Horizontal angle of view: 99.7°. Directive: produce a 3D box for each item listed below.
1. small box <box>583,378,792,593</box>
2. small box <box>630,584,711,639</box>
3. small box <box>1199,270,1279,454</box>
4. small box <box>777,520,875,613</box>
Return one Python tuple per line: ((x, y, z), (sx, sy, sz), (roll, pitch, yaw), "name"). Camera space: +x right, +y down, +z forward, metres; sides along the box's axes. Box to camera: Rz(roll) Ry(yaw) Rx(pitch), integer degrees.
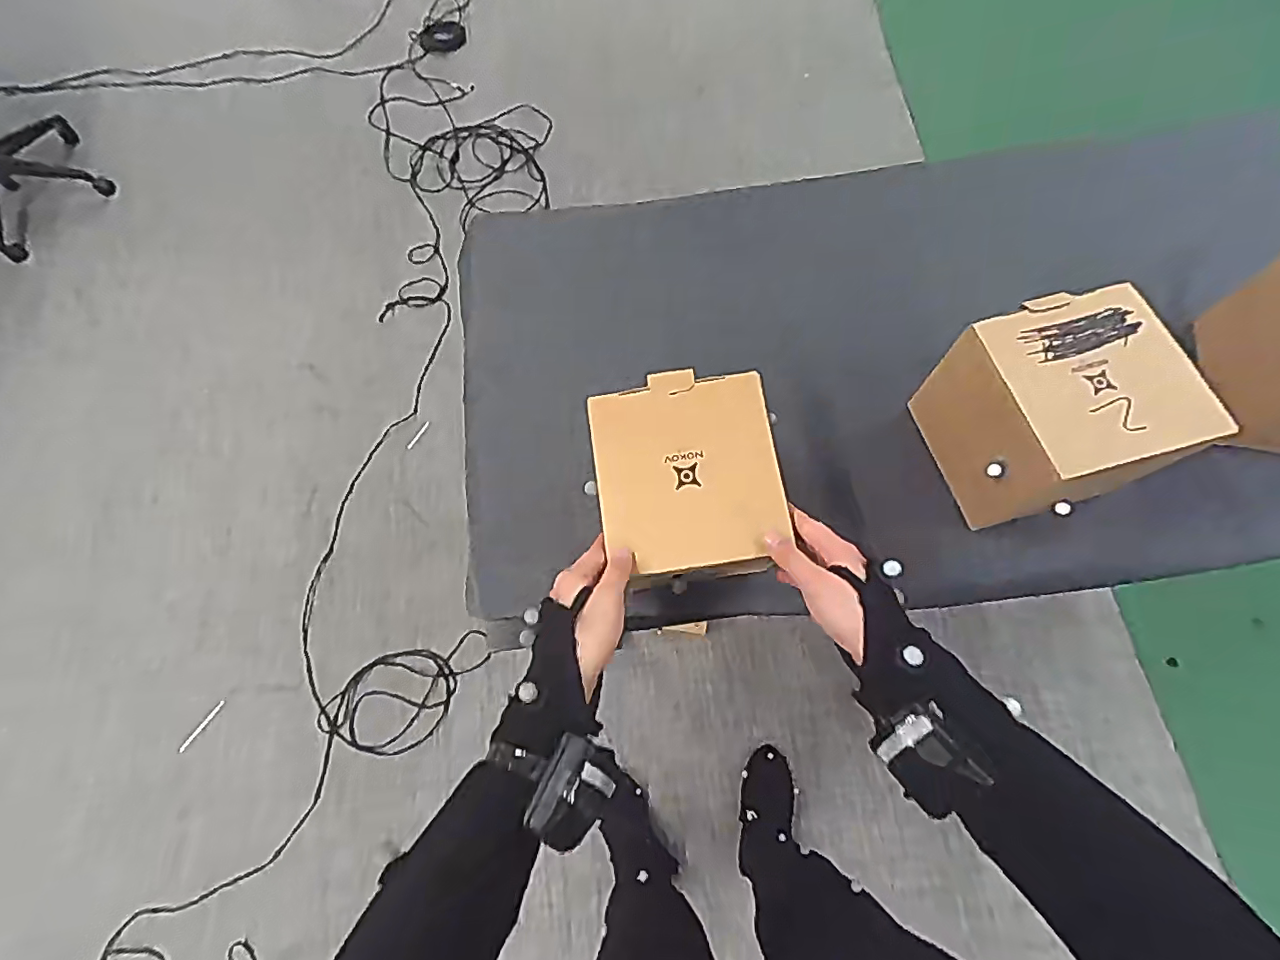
((0.045, 0.020, 0.554), (0.168, 0.176, 0.179), (-9, 75, 2), "small box")
((0.077, 0.266, 1.265), (0.168, 0.176, 0.179), (8, 72, 8), "small box")
((0.750, -0.126, 0.563), (0.168, 0.176, 0.179), (11, 70, 9), "small box")
((0.416, 0.208, 1.254), (0.168, 0.176, 0.179), (-11, 70, 1), "small box")
